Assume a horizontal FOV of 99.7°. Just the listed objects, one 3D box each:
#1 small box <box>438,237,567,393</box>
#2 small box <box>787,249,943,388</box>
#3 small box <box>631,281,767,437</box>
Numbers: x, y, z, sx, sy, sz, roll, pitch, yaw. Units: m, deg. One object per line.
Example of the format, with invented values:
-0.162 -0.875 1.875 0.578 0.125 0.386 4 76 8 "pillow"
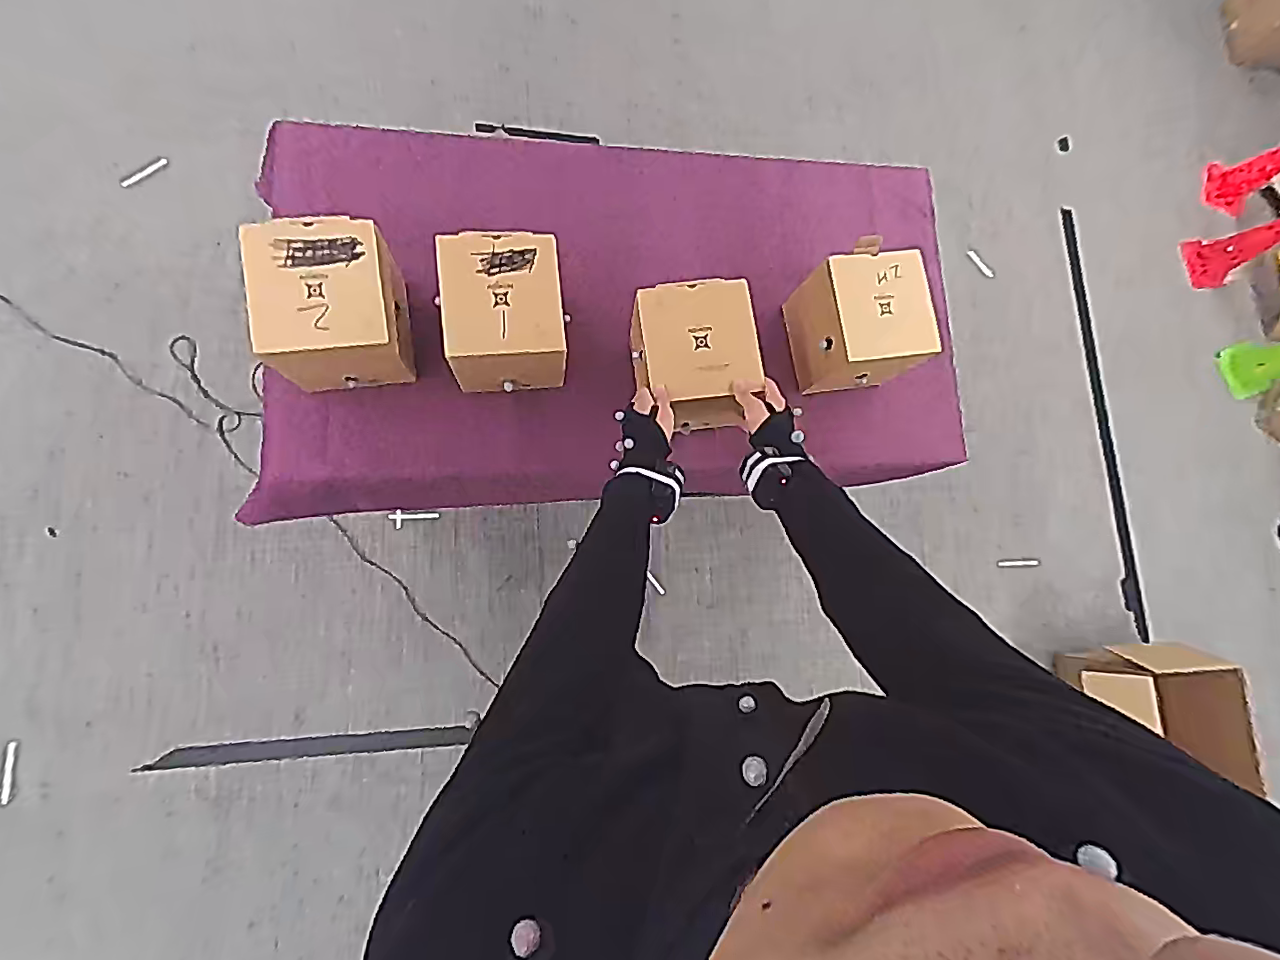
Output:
-0.203 -0.244 0.824 0.168 0.176 0.179 -6 84 -10 "small box"
0.370 -0.263 0.918 0.168 0.176 0.179 -8 83 -10 "small box"
0.080 -0.179 0.838 0.168 0.176 0.179 -7 80 -5 "small box"
